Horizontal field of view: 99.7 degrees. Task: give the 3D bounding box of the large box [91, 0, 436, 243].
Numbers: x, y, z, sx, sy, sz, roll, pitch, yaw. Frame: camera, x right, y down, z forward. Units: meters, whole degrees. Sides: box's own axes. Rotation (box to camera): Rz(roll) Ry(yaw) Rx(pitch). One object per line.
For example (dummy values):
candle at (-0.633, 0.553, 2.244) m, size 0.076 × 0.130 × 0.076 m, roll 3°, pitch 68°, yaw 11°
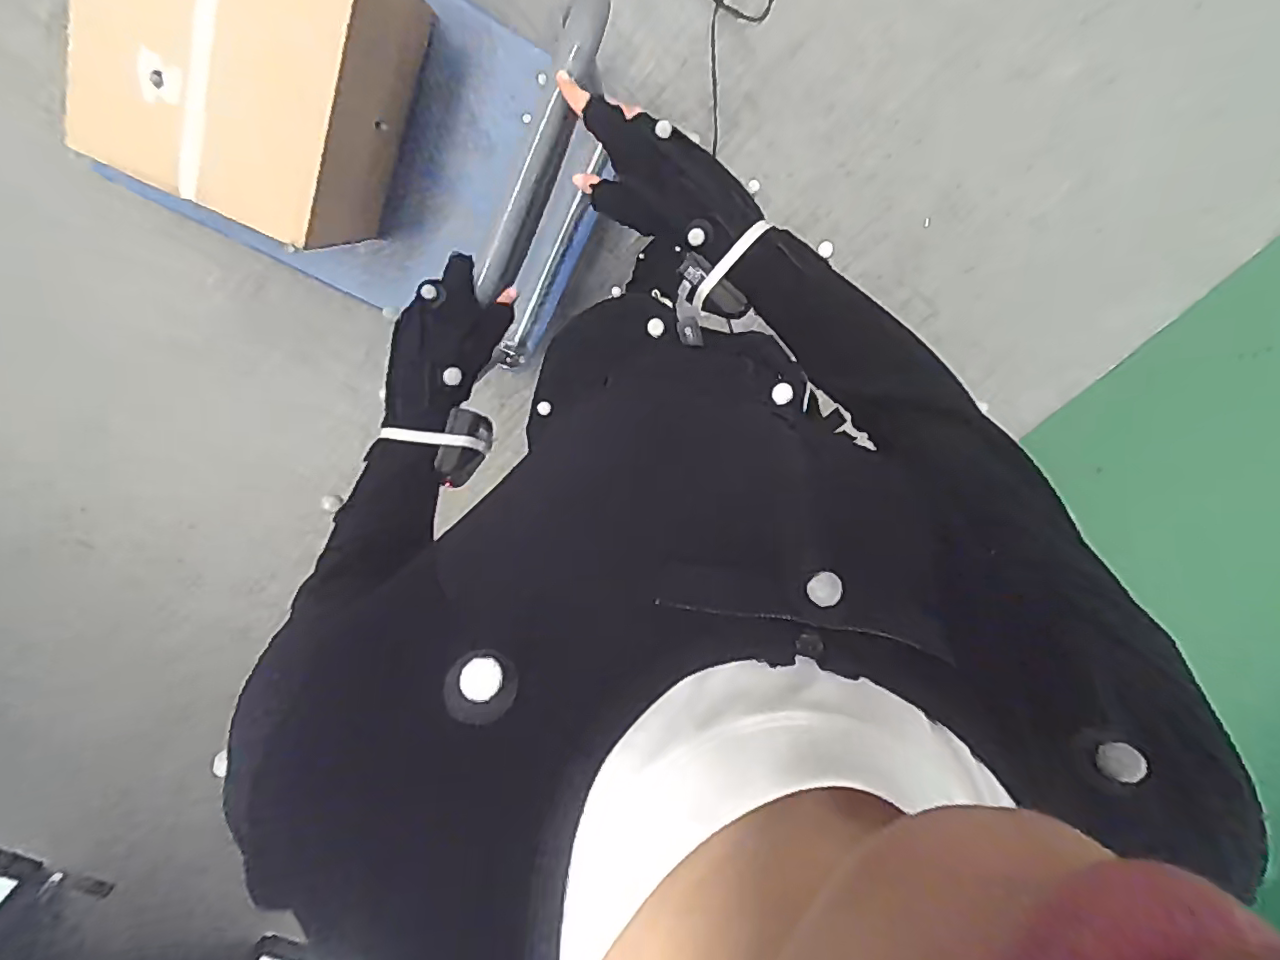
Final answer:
large box at (-0.554, -0.645, 0.841) m, size 0.320 × 0.320 × 0.408 m, roll 22°, pitch 114°, yaw -14°
